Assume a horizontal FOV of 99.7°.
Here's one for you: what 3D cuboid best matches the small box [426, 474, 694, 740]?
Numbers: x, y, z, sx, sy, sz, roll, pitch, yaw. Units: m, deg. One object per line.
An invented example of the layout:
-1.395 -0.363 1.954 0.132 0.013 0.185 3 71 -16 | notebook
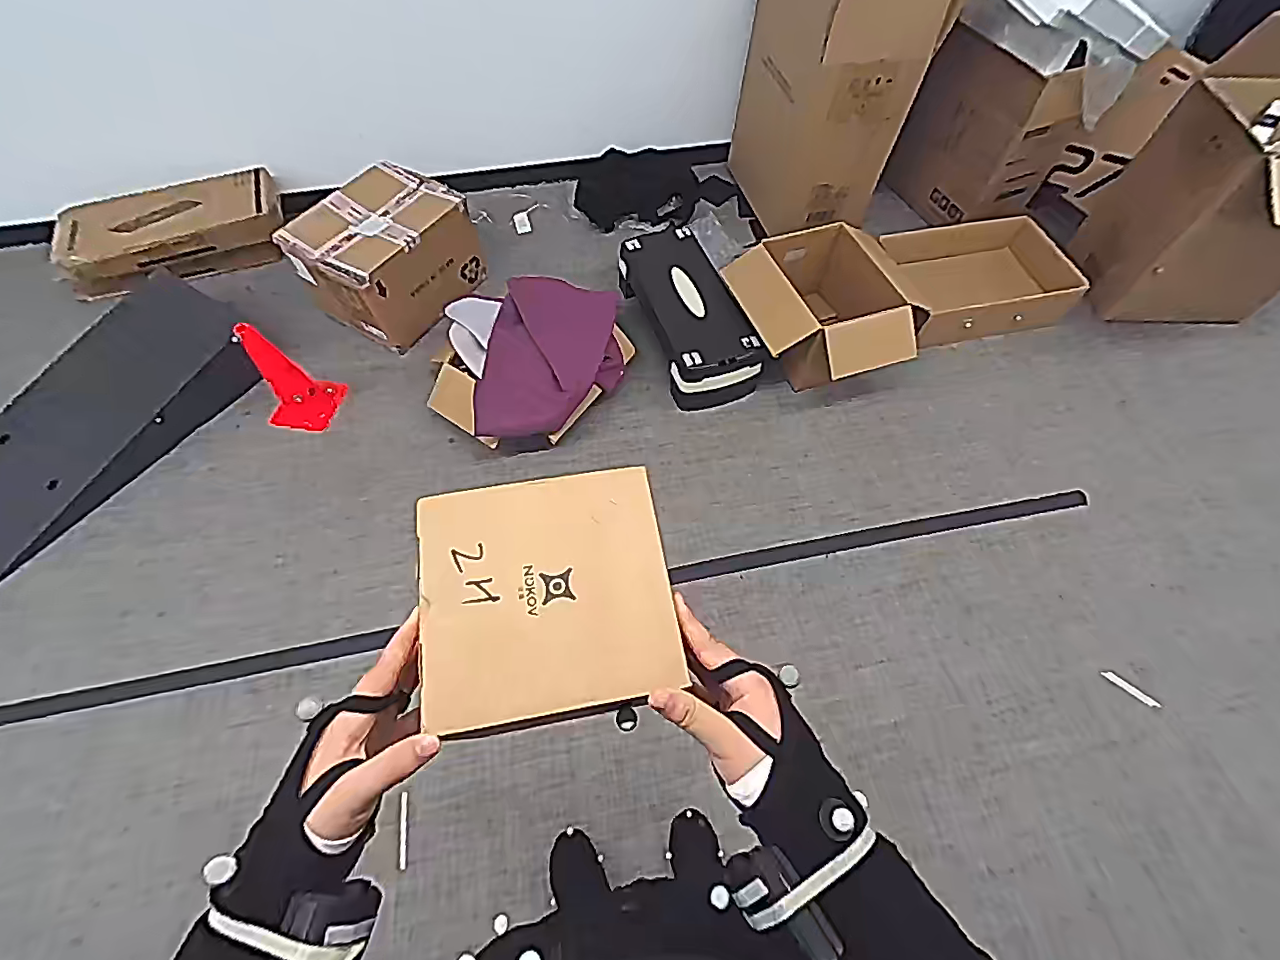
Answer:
-0.065 0.112 0.456 0.179 0.176 0.168 -9 66 -6 | small box
